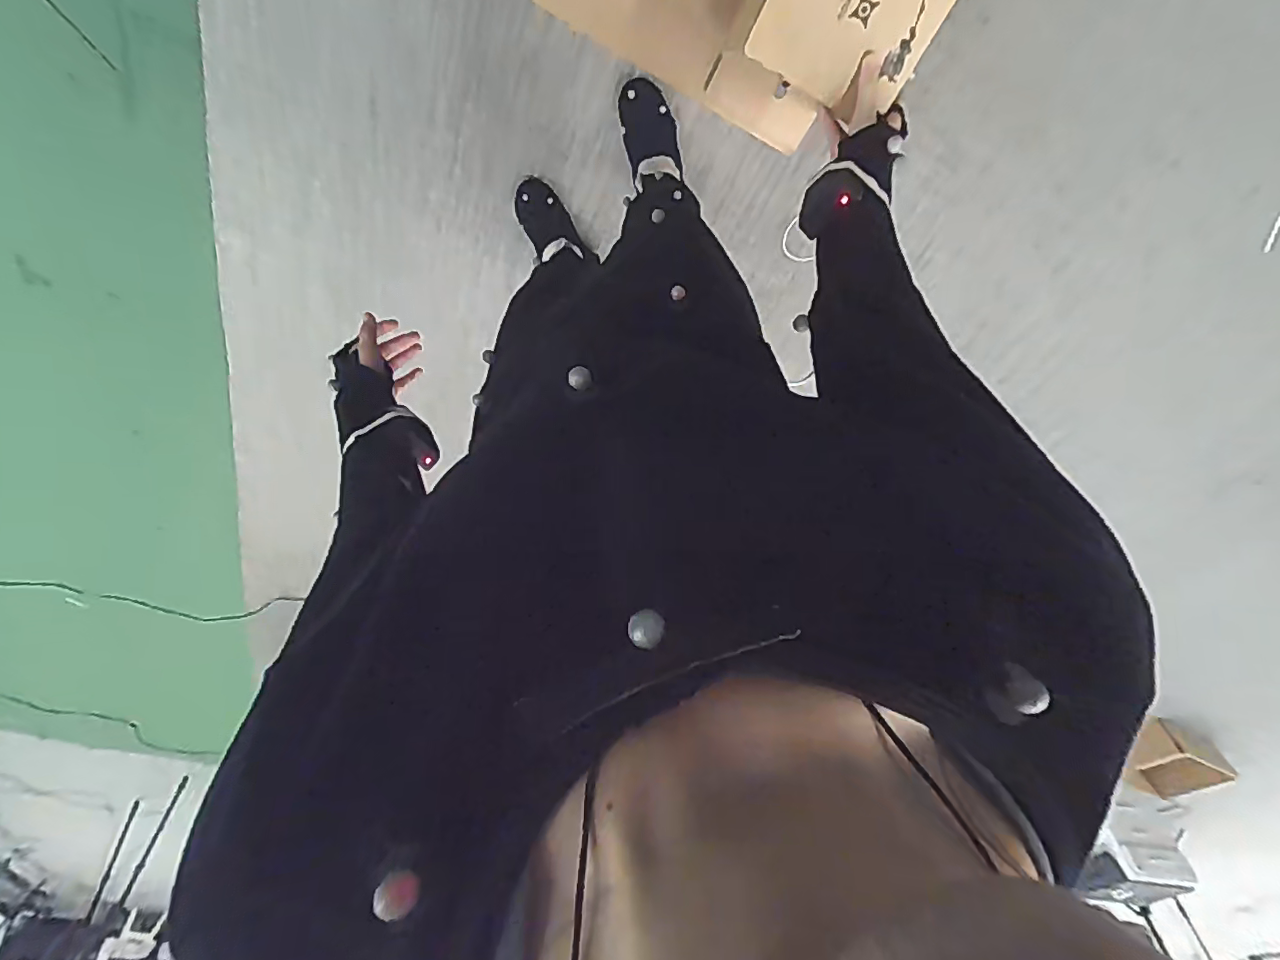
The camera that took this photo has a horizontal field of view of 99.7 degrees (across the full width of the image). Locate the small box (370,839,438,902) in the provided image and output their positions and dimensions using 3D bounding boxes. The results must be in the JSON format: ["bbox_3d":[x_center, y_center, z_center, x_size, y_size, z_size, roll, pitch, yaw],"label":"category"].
[{"bbox_3d":[-0.862,1.443,1.986,0.179,0.176,0.168,20,127,-14],"label":"small box"}]

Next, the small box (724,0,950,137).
[{"bbox_3d":[0.210,-0.517,0.606,0.179,0.176,0.168,21,125,-14],"label":"small box"}]

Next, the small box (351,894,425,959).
[{"bbox_3d":[-0.866,1.551,1.862,0.179,0.176,0.168,19,128,-15],"label":"small box"}]
